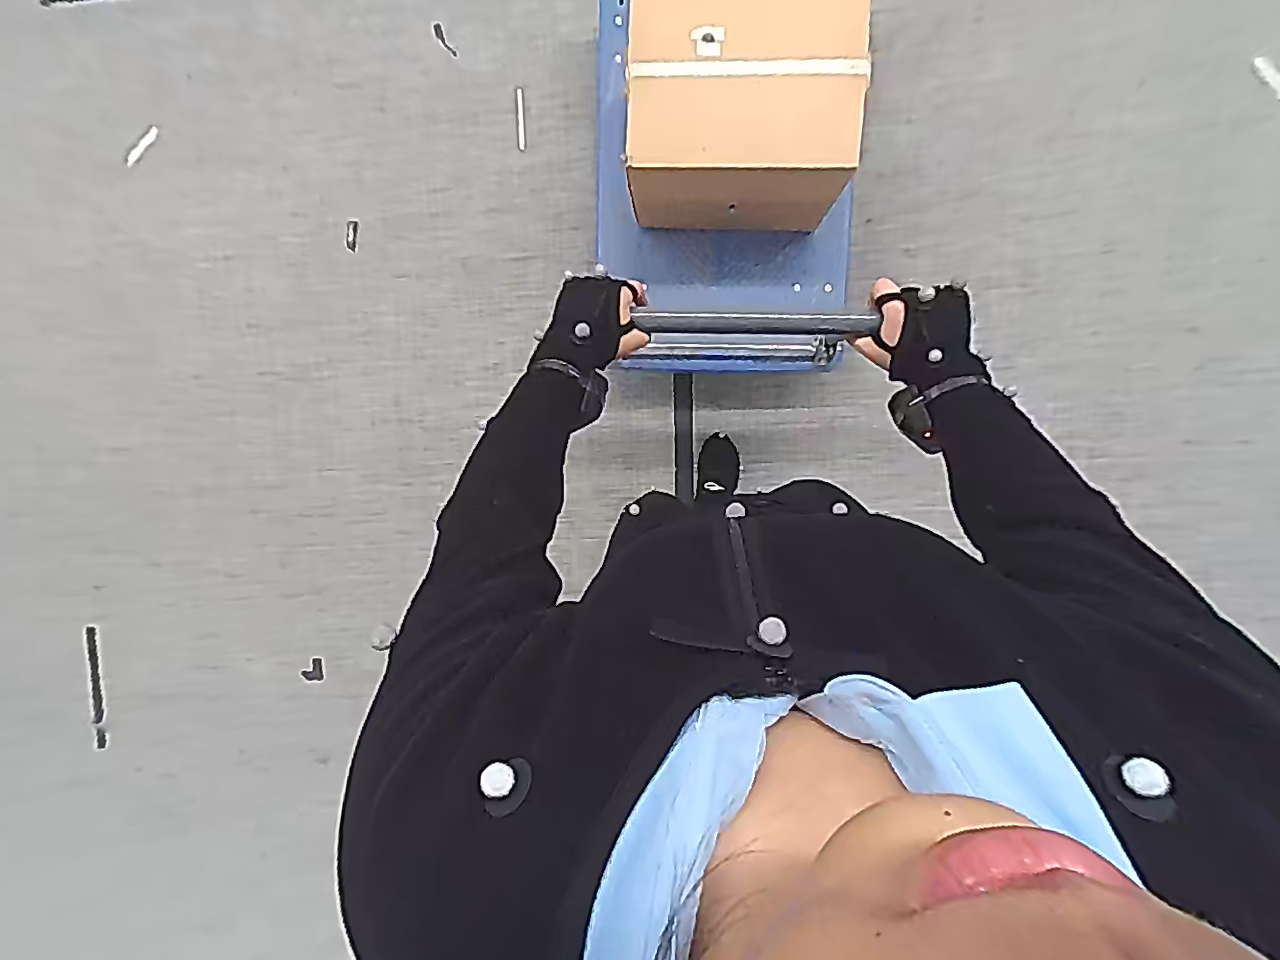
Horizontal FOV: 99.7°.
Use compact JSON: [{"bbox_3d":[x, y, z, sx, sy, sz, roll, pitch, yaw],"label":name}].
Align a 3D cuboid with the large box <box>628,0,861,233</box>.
[{"bbox_3d":[0.194,-0.711,1.097,0.408,0.320,0.320,2,95,5],"label":"large box"}]
